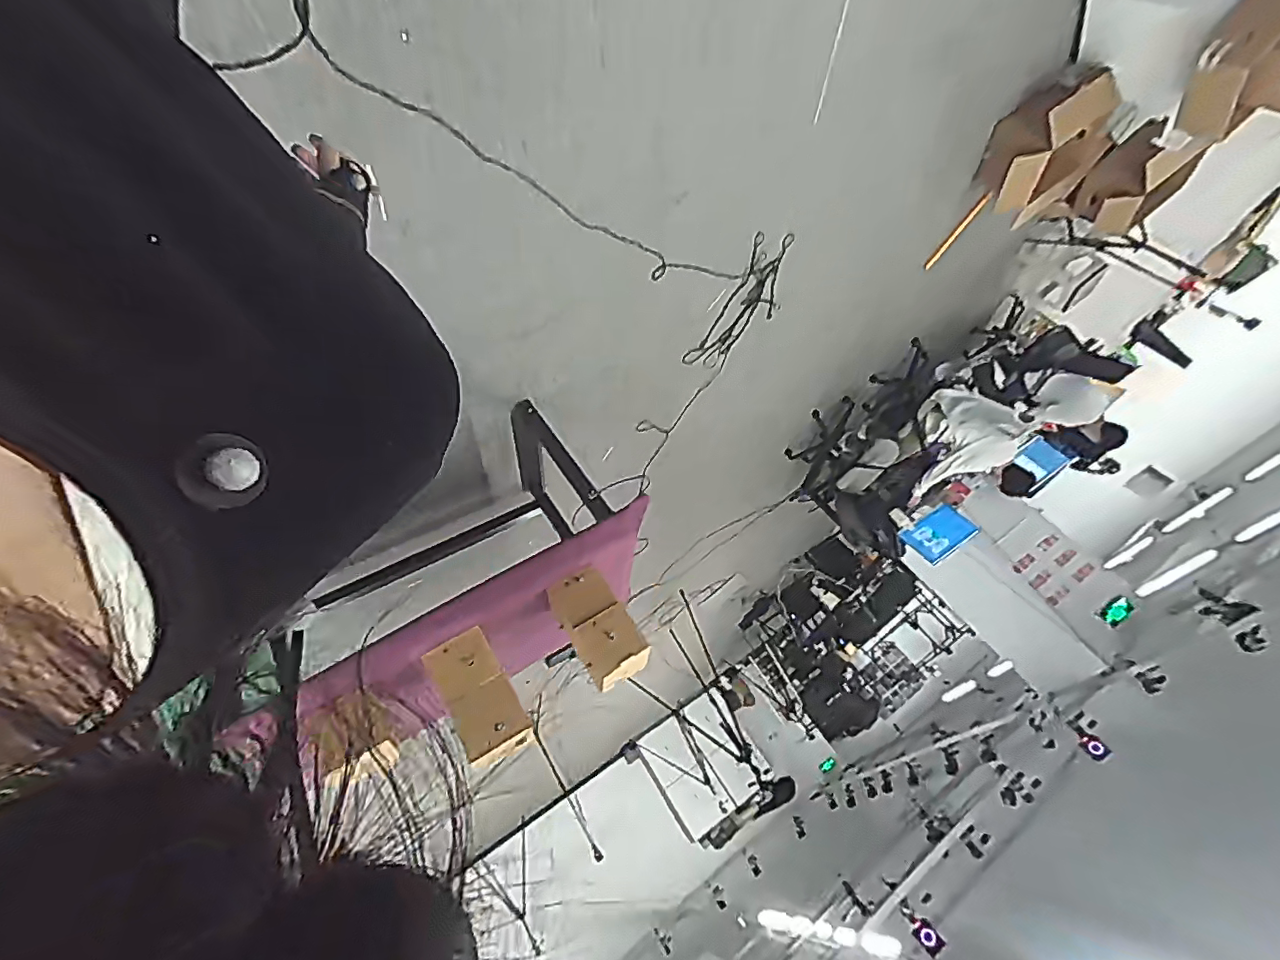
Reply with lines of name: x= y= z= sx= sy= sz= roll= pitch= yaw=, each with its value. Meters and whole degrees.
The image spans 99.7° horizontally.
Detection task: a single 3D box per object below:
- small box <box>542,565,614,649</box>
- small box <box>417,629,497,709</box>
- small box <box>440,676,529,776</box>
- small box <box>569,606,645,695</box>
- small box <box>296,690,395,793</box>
small box: x=-0.197 y=0.400 z=1.712 sx=0.168 sy=0.176 sz=0.179 roll=-27 pitch=150 yaw=-22
small box: x=-0.517 y=0.556 z=1.556 sx=0.168 sy=0.176 sz=0.179 roll=-28 pitch=152 yaw=-22
small box: x=-0.423 y=0.668 z=1.481 sx=0.179 sy=0.176 sz=0.168 roll=-25 pitch=150 yaw=-25
small box: x=-0.104 y=0.505 z=1.628 sx=0.168 sy=0.176 sz=0.179 roll=-26 pitch=149 yaw=-24
small box: x=-0.775 y=0.683 z=1.425 sx=0.168 sy=0.176 sz=0.179 roll=-25 pitch=150 yaw=-26
